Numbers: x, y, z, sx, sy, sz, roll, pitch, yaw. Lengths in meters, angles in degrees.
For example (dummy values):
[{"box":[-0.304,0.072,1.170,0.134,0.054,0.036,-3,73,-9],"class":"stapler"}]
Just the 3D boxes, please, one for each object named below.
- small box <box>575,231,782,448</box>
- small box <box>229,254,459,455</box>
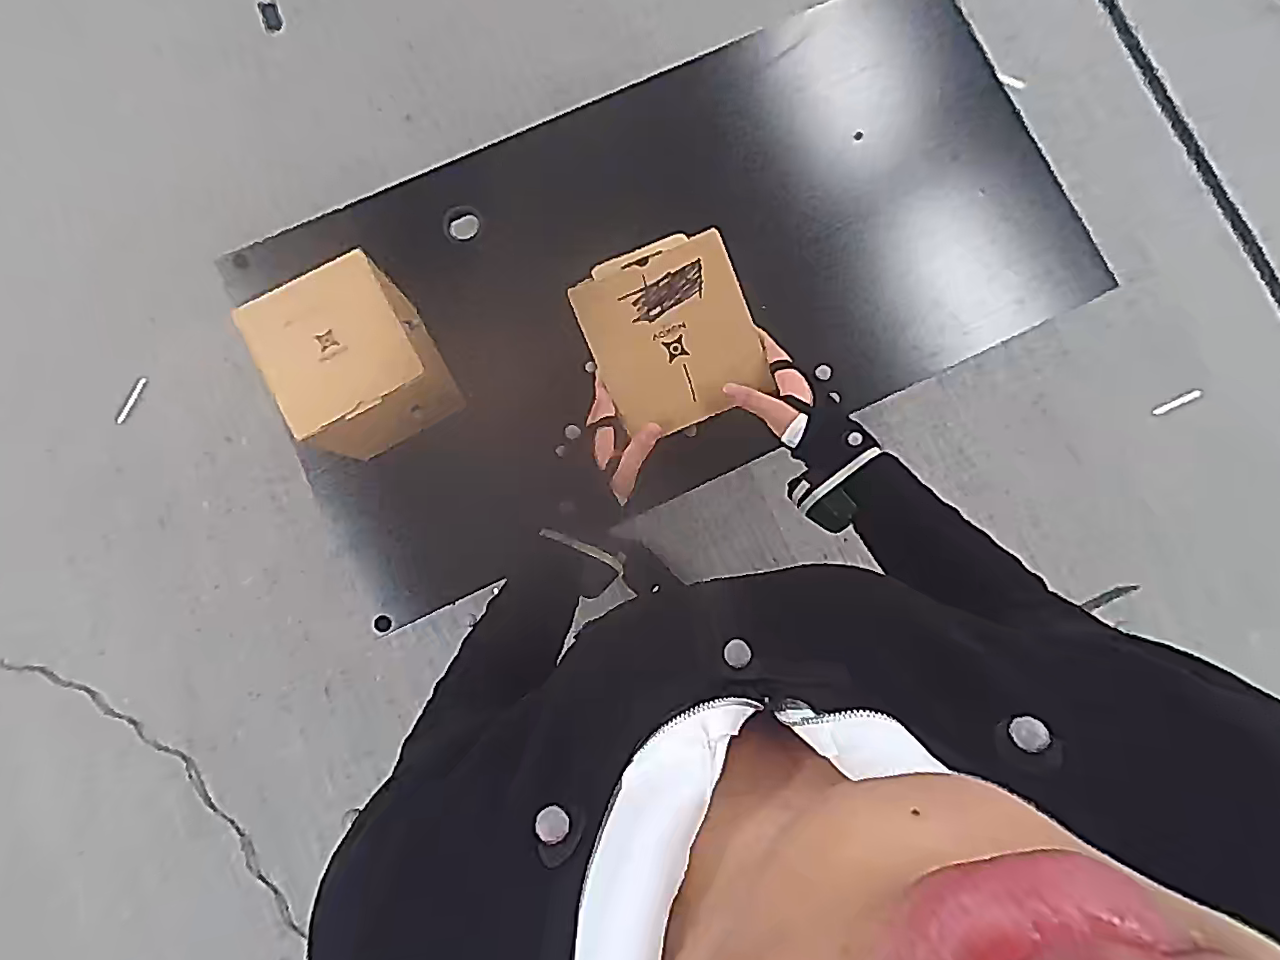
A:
[{"box":[0.036,-0.146,0.619,0.168,0.176,0.179,-22,97,1],"class":"small box"},{"box":[-0.359,-0.144,0.694,0.168,0.176,0.179,-30,86,-5],"class":"small box"}]
